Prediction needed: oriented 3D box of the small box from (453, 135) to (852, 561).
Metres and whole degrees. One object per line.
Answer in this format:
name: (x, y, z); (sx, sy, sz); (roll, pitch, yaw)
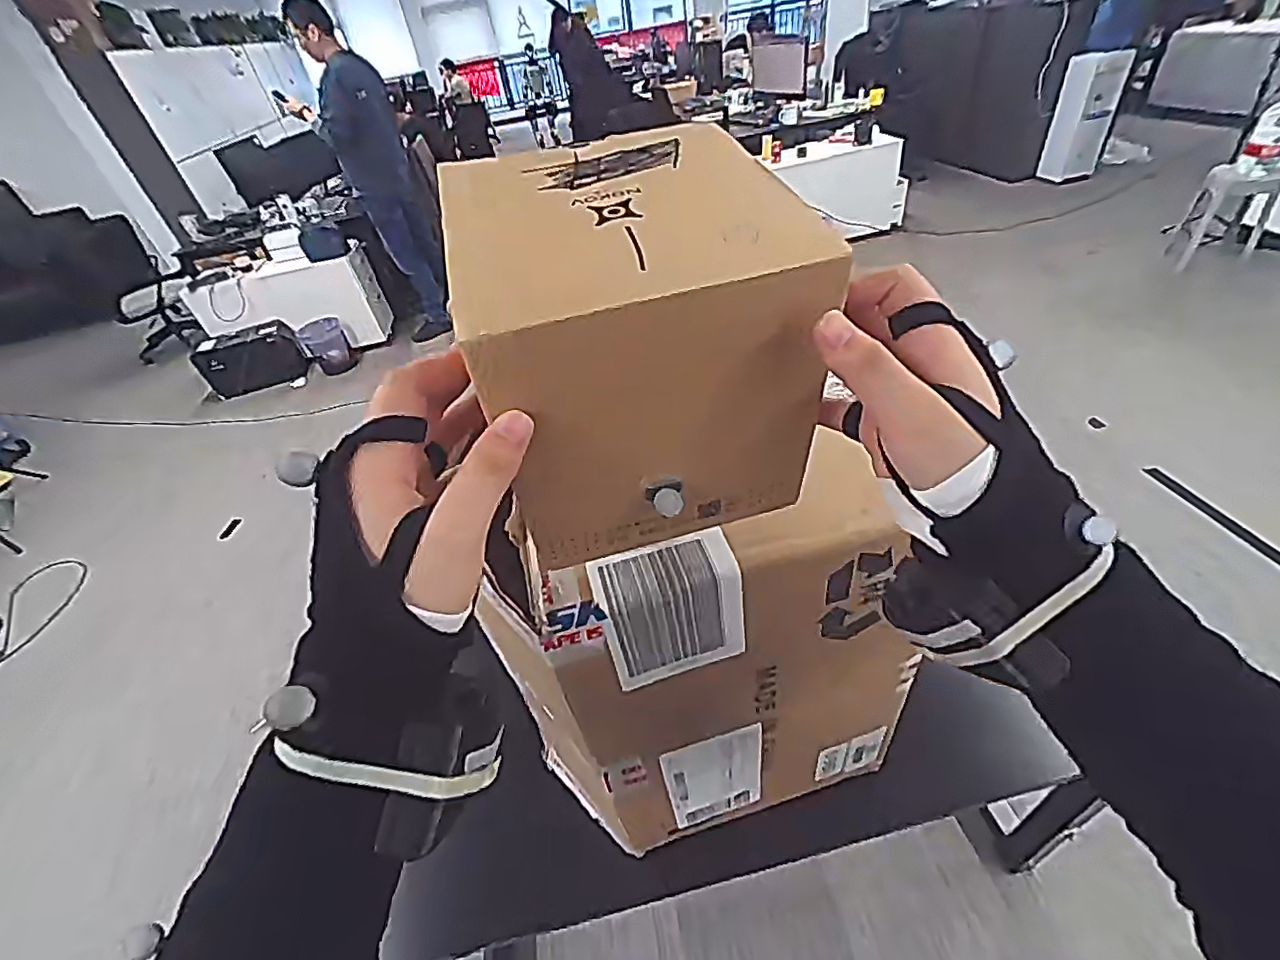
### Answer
small box: (-0.005, -0.080, 0.331); (0.168, 0.176, 0.179); (-15, 51, -7)
